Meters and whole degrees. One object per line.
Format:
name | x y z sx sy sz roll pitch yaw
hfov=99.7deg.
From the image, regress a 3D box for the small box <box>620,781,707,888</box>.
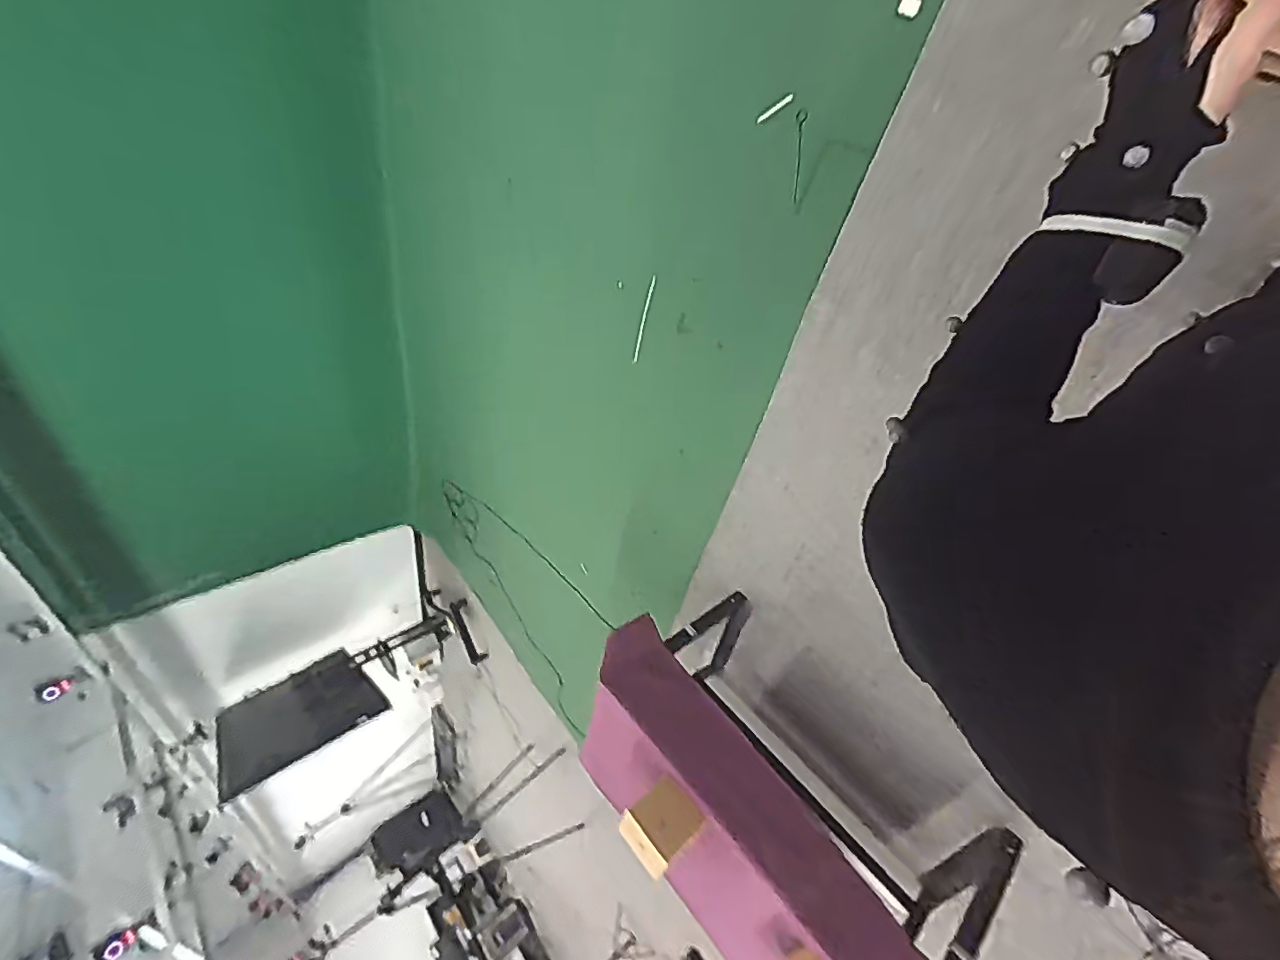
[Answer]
small box | 0.069 1.036 1.590 0.179 0.176 0.168 42 135 30
